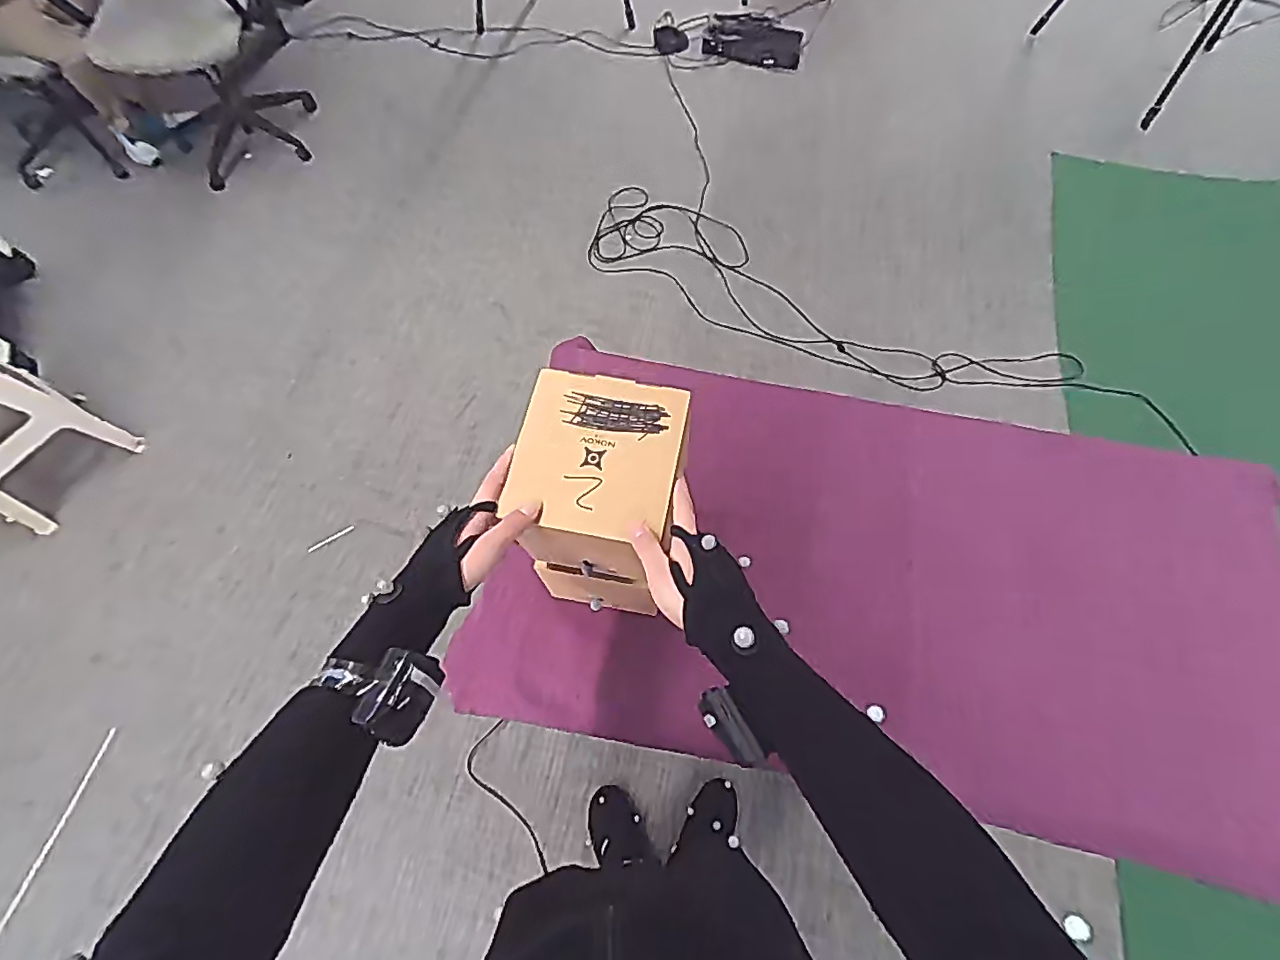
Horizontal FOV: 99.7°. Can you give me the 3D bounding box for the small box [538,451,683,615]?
[{"bbox_3d":[-0.037,0.083,0.793,0.168,0.176,0.179,10,66,5],"label":"small box"}]
